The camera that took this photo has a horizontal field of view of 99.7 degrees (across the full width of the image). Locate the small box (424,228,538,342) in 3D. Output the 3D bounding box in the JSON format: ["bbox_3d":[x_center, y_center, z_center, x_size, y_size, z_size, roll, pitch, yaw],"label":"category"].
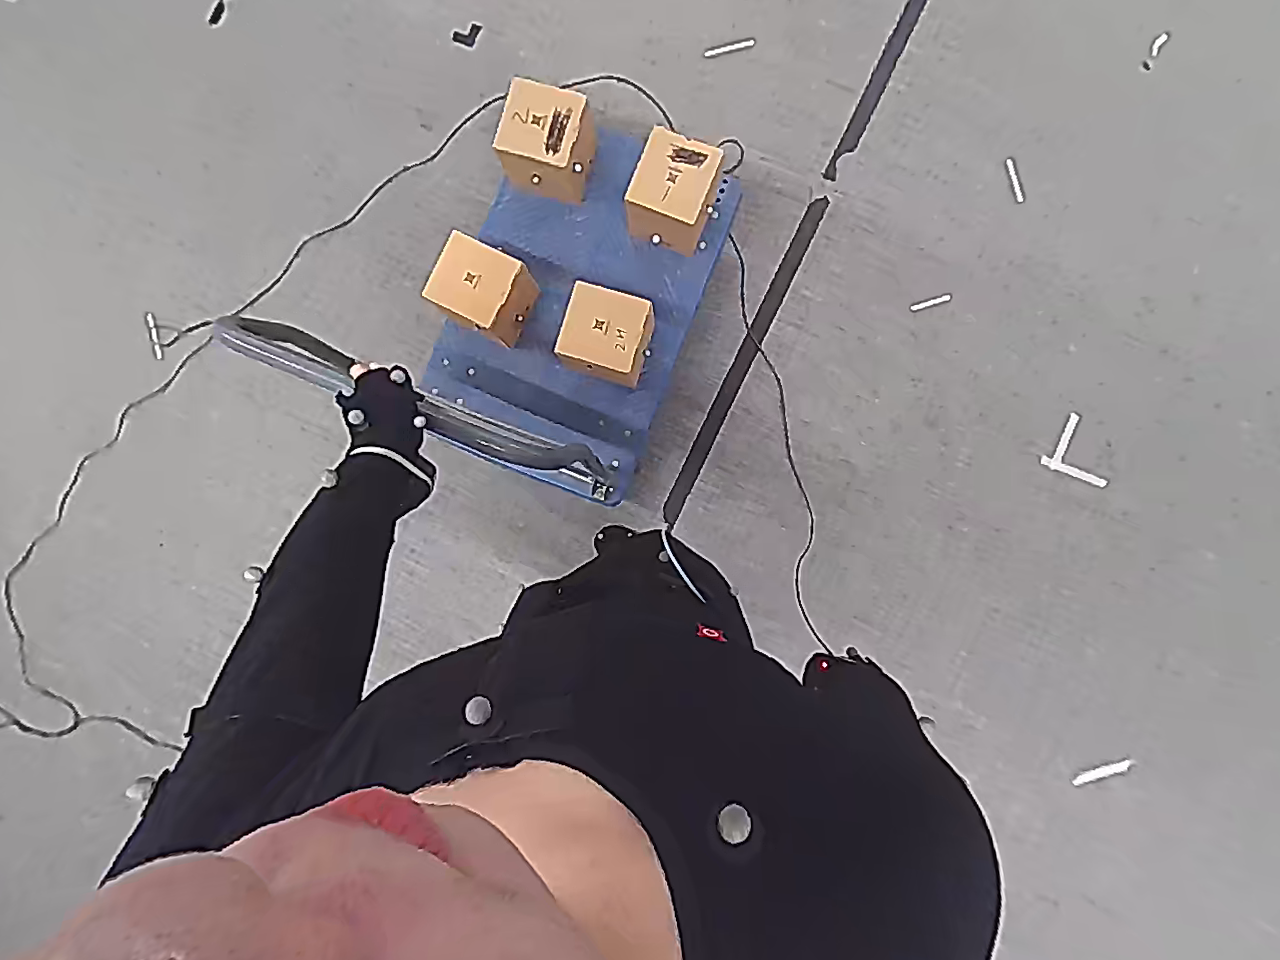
[{"bbox_3d":[-0.362,-0.444,1.263,0.179,0.176,0.168,26,90,2],"label":"small box"}]

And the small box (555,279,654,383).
[{"bbox_3d":[-0.074,-0.333,1.244,0.179,0.176,0.168,18,90,4],"label":"small box"}]

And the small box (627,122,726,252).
[{"bbox_3d":[0.081,-0.660,1.239,0.168,0.176,0.179,23,92,3],"label":"small box"}]
